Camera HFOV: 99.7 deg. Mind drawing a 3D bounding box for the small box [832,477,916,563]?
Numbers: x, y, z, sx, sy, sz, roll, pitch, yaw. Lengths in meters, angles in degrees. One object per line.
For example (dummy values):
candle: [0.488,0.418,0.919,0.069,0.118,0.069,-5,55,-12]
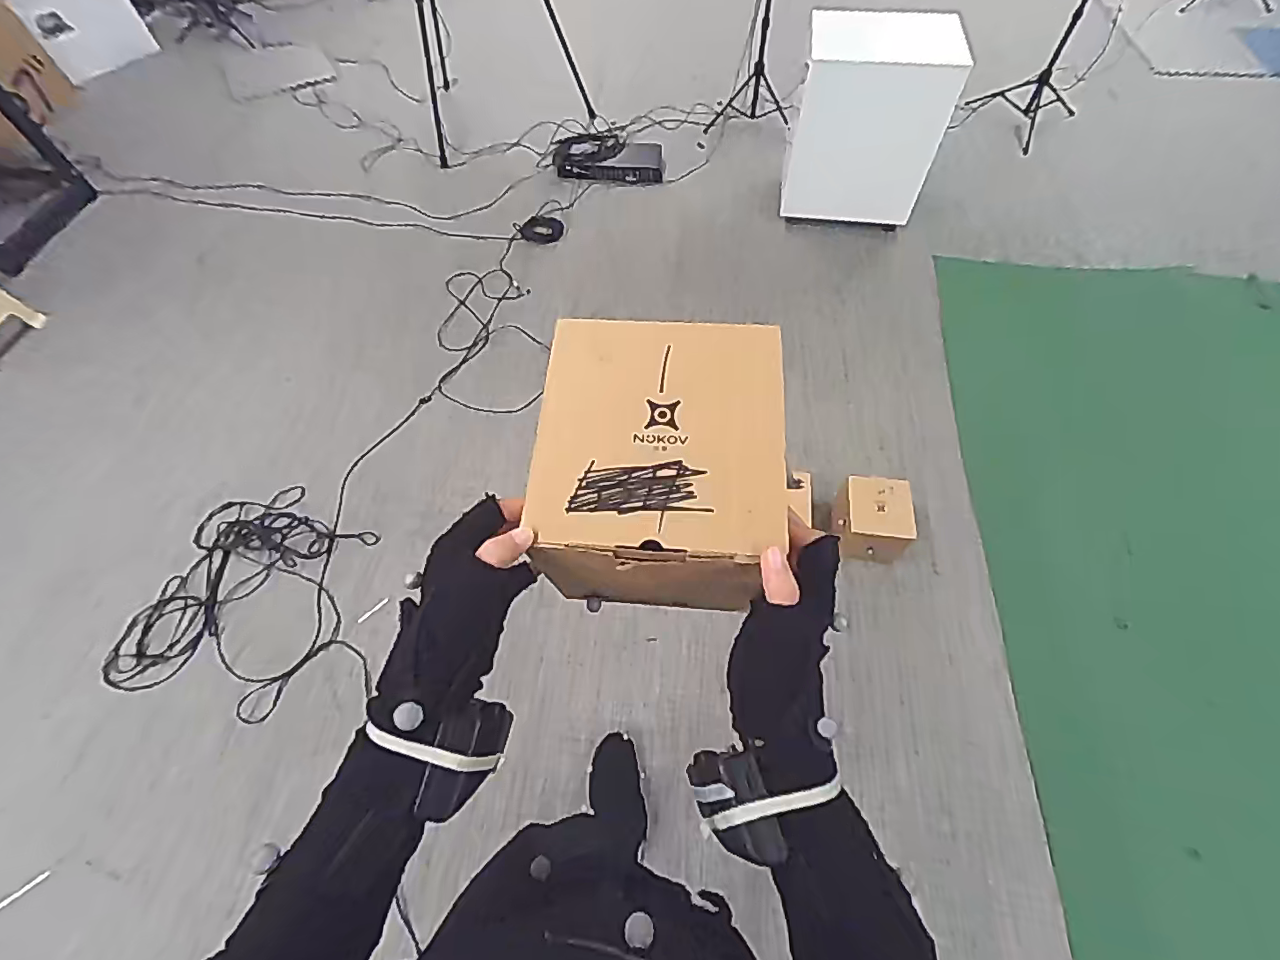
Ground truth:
small box: [0.633,0.114,1.483,0.168,0.176,0.179,6,59,5]
